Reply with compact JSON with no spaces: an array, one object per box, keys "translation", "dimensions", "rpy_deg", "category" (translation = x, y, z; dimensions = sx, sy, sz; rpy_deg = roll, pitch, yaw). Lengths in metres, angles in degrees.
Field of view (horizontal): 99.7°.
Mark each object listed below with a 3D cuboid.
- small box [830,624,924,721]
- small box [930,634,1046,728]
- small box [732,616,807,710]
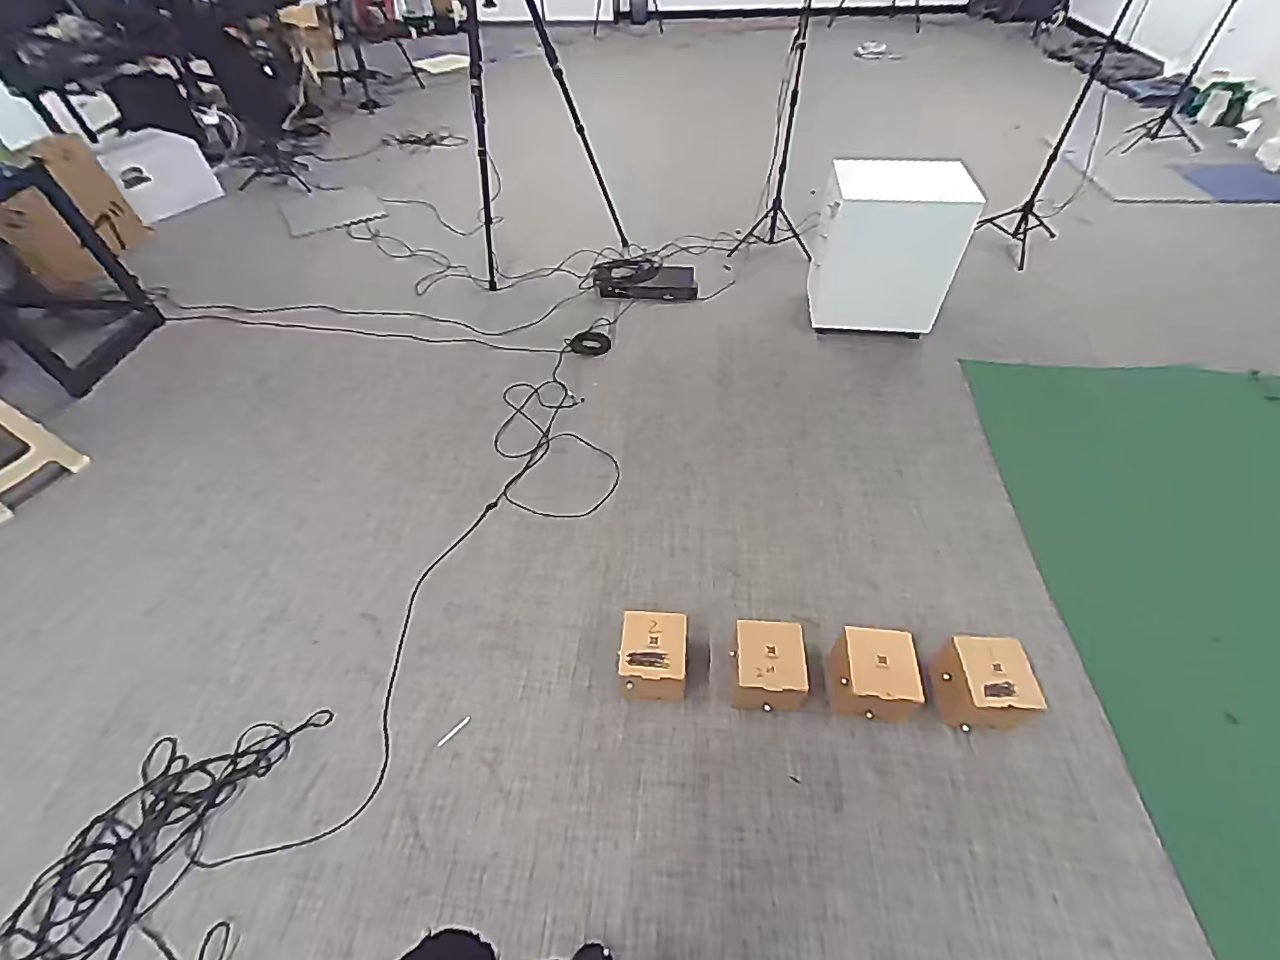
[{"translation":[0.595,0.493,1.383],"dimensions":[0.168,0.176,0.179],"rpy_deg":[5,51,6],"category":"small box"},{"translation":[0.863,0.509,1.359],"dimensions":[0.168,0.176,0.179],"rpy_deg":[2,50,4],"category":"small box"},{"translation":[0.328,0.476,1.404],"dimensions":[0.168,0.176,0.179],"rpy_deg":[2,51,6],"category":"small box"}]
